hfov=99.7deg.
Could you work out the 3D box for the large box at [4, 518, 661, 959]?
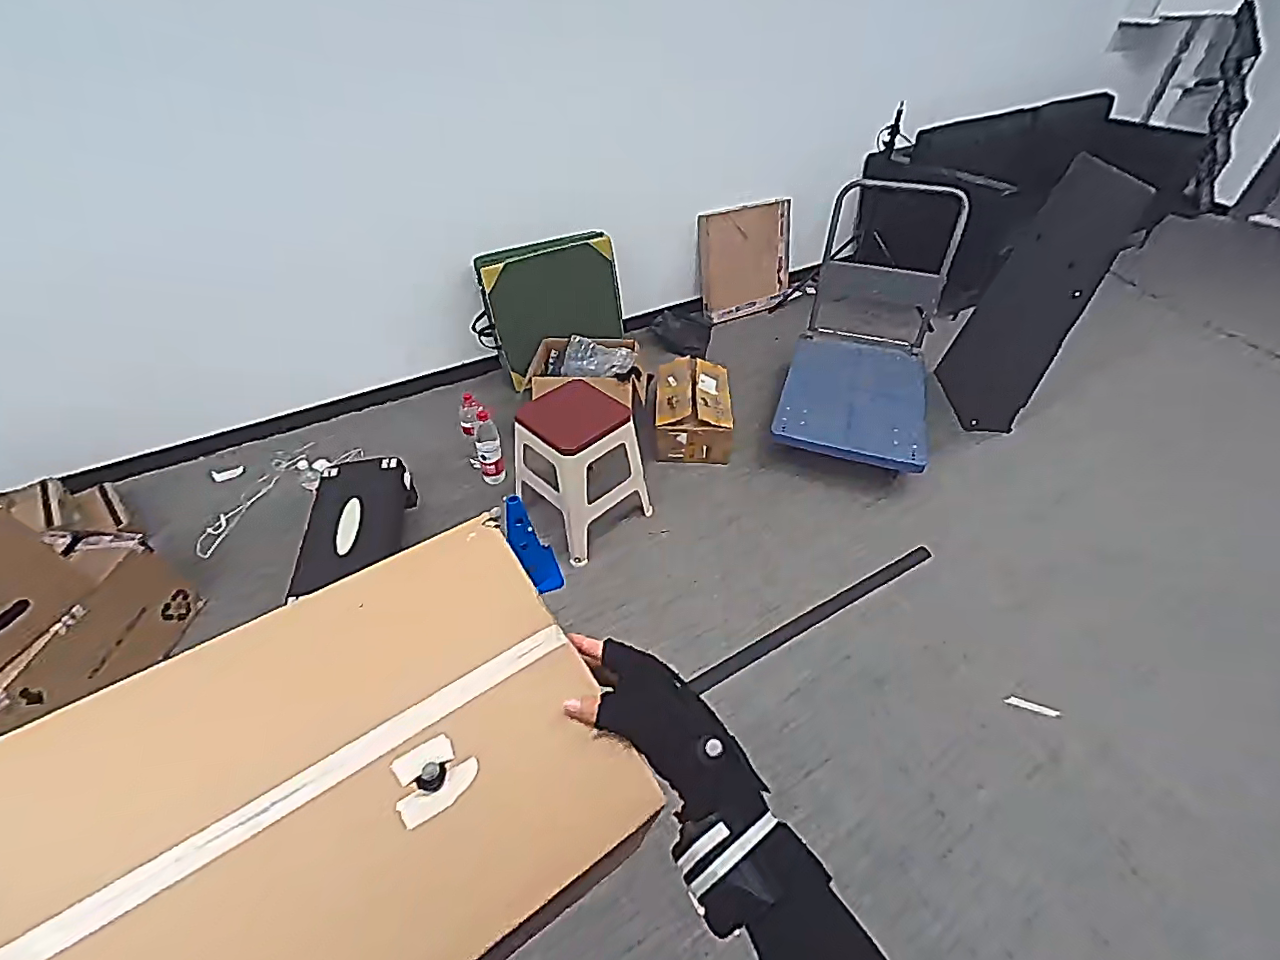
[{"bbox_3d":[-0.238,0.313,0.524,0.408,0.320,0.320,-26,58,-24],"label":"large box"}]
